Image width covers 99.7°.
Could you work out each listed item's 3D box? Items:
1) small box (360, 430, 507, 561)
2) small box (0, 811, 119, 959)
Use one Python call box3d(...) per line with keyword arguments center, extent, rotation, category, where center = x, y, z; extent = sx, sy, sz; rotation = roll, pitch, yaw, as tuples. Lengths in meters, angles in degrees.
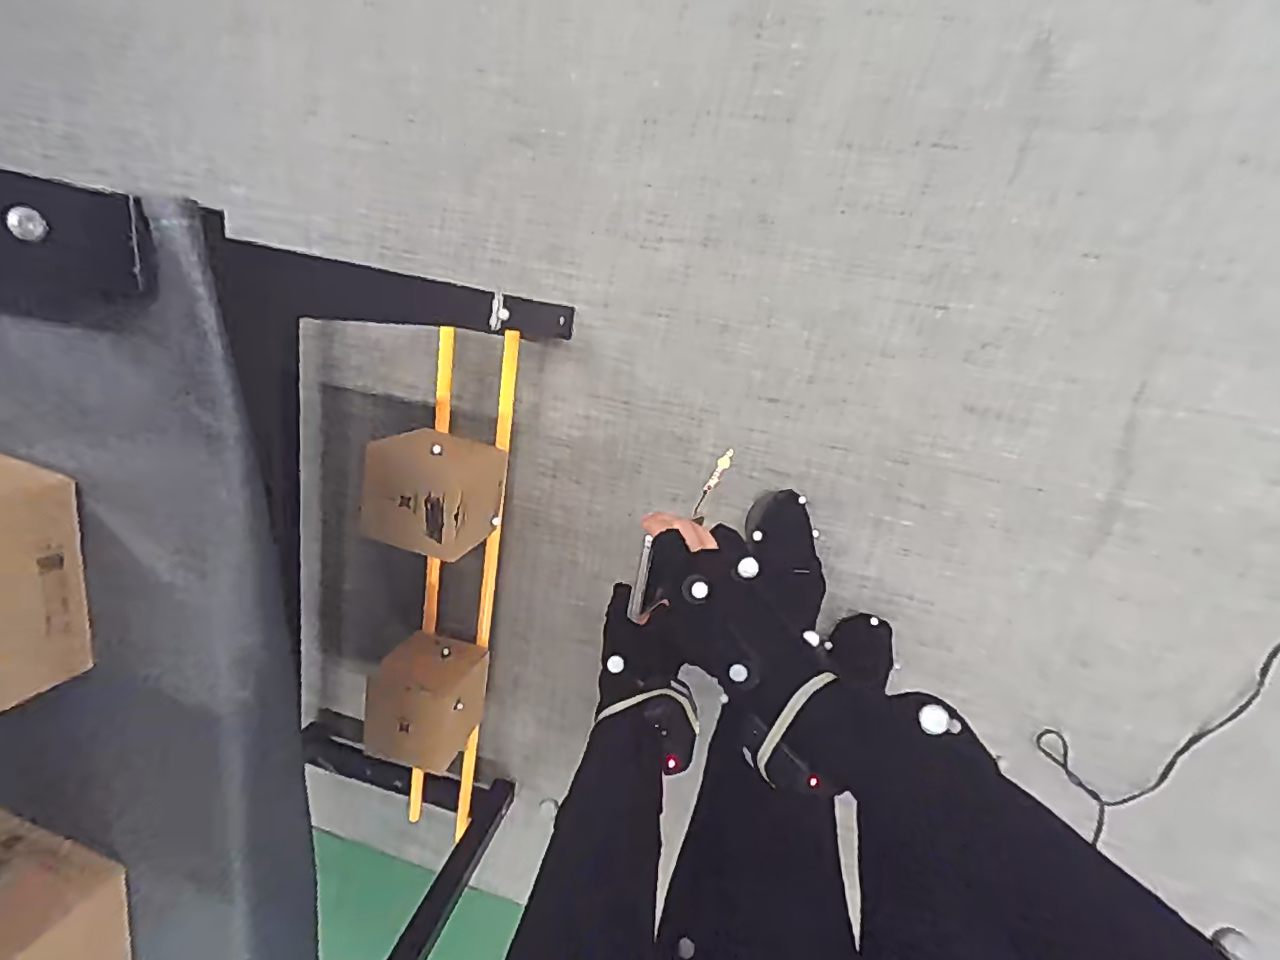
box3d(center=(-0.354, 0.017, 0.950), extent=(0.179, 0.176, 0.168), rotation=(16, 106, 8), category="small box")
box3d(center=(-0.579, 0.422, 0.442), extent=(0.168, 0.176, 0.179), rotation=(15, 107, 8), category="small box")
